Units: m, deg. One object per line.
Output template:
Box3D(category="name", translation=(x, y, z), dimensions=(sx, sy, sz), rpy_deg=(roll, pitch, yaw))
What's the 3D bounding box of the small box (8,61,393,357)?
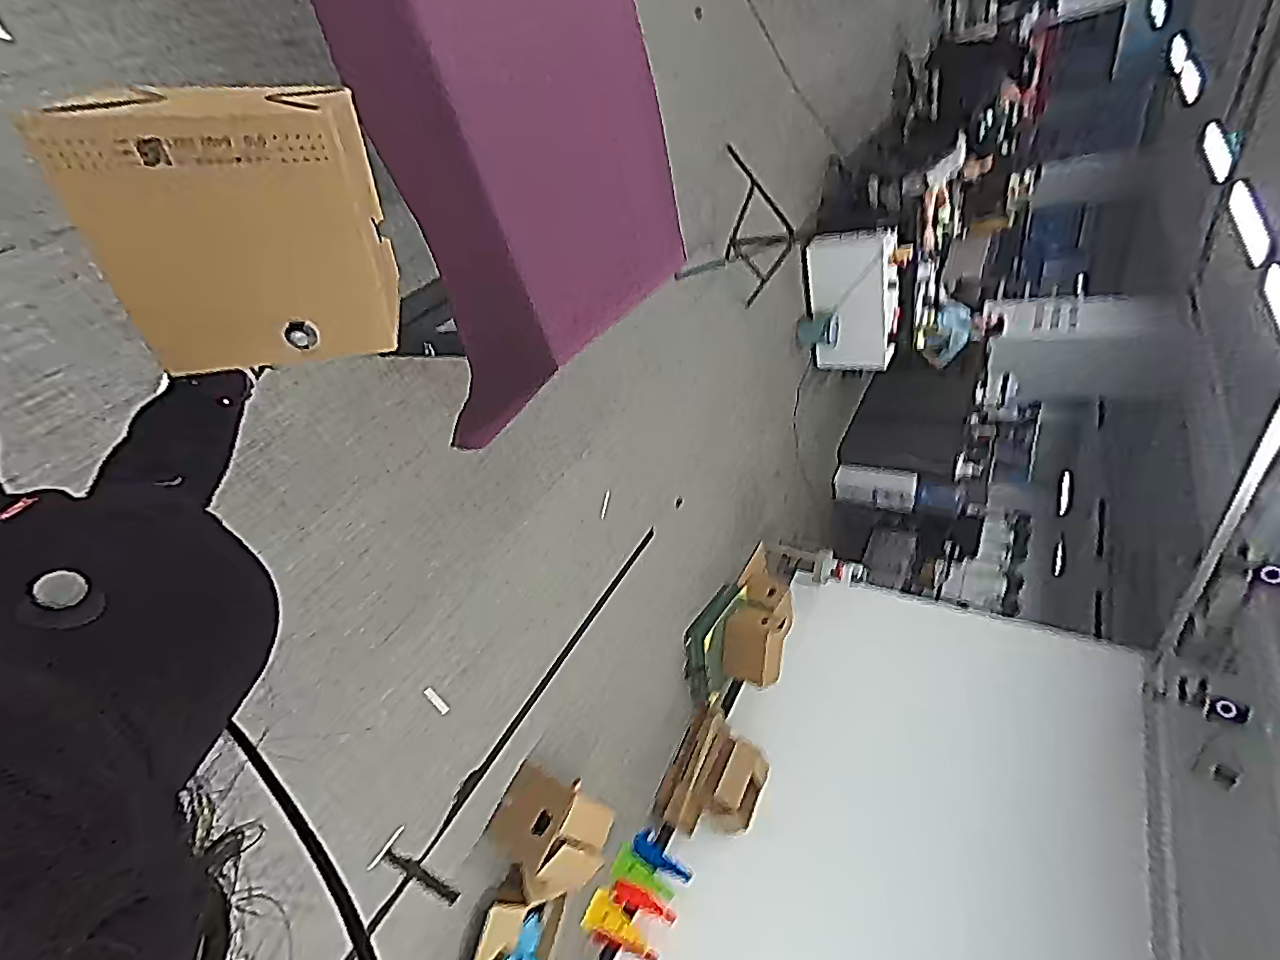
Box3D(category="small box", translation=(-0.303, -0.220, 0.425), dimensions=(0.168, 0.179, 0.176), rpy_deg=(-11, 132, -15))
